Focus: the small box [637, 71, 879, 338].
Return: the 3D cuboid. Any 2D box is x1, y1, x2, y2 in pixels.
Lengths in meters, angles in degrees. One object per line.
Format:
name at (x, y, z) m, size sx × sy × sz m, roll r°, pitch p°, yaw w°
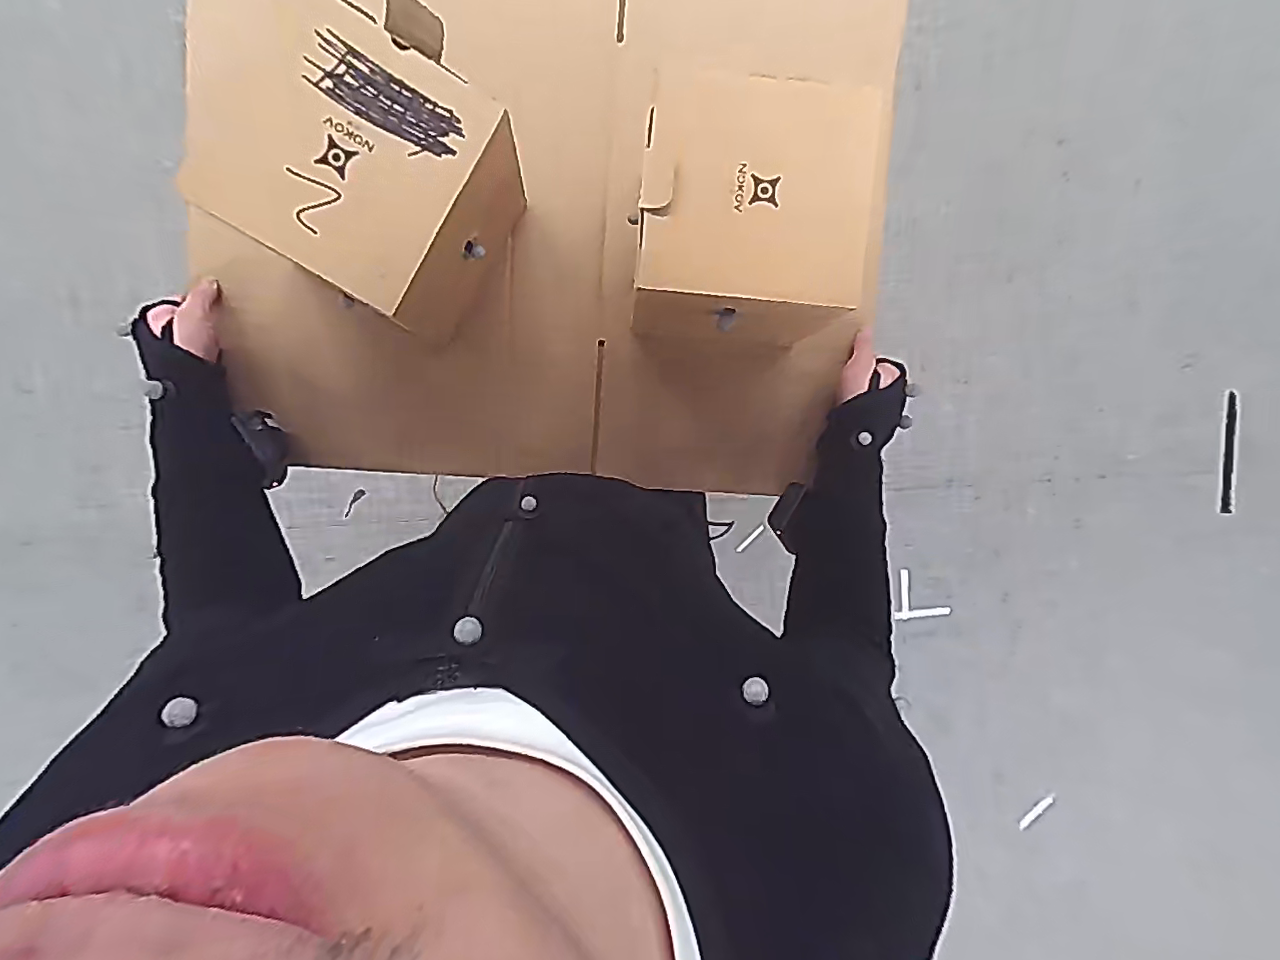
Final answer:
small box at (0.092, -0.233, 0.506) m, size 0.179 × 0.176 × 0.168 m, roll 5°, pitch 94°, yaw -1°
